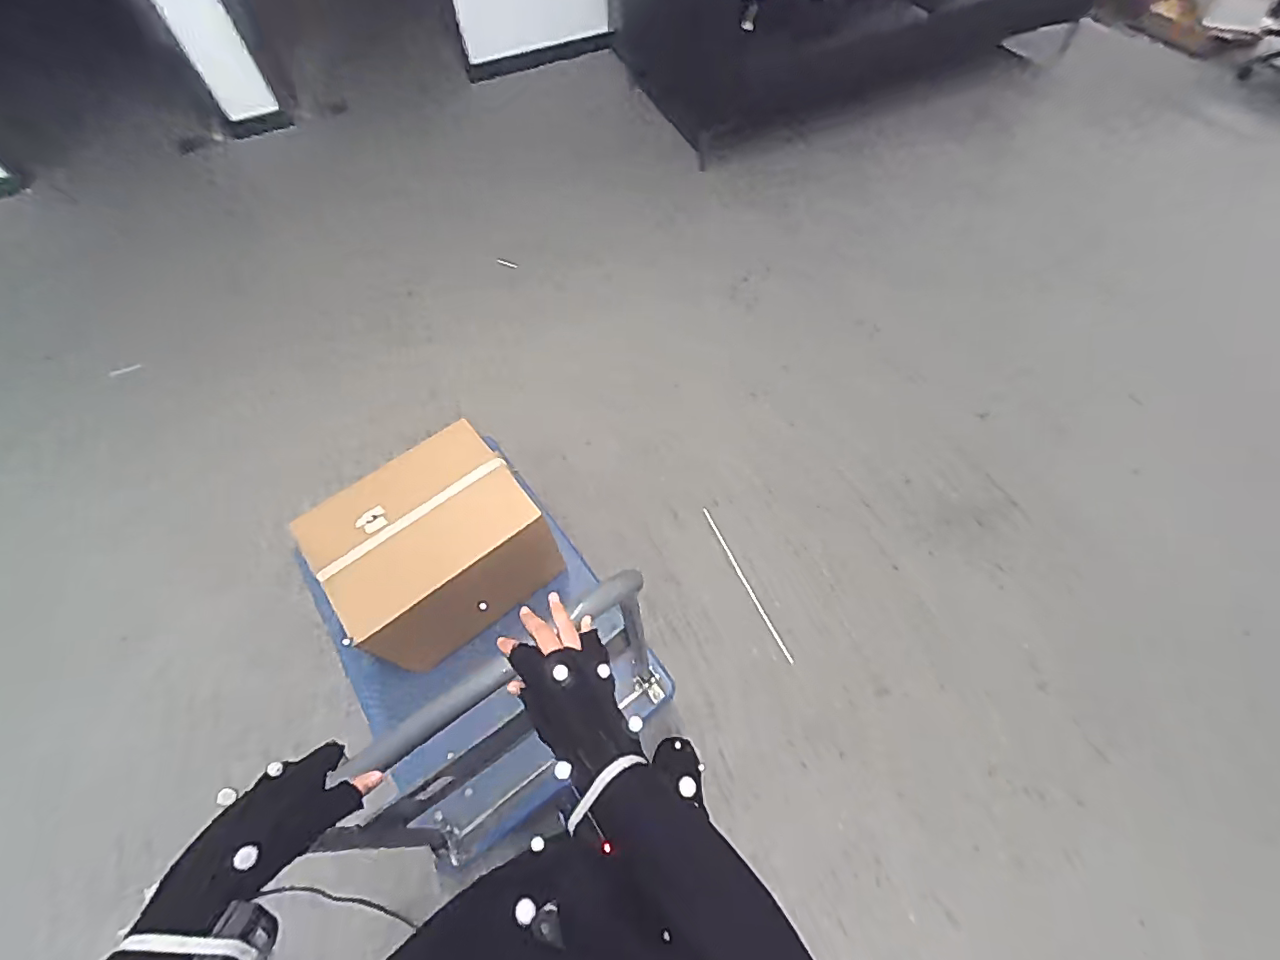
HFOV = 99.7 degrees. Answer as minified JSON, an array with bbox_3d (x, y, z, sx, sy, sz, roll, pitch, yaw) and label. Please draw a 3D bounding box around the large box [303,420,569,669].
[{"bbox_3d":[-0.421,0.149,1.203,0.408,0.320,0.320,-36,65,-16],"label":"large box"}]
